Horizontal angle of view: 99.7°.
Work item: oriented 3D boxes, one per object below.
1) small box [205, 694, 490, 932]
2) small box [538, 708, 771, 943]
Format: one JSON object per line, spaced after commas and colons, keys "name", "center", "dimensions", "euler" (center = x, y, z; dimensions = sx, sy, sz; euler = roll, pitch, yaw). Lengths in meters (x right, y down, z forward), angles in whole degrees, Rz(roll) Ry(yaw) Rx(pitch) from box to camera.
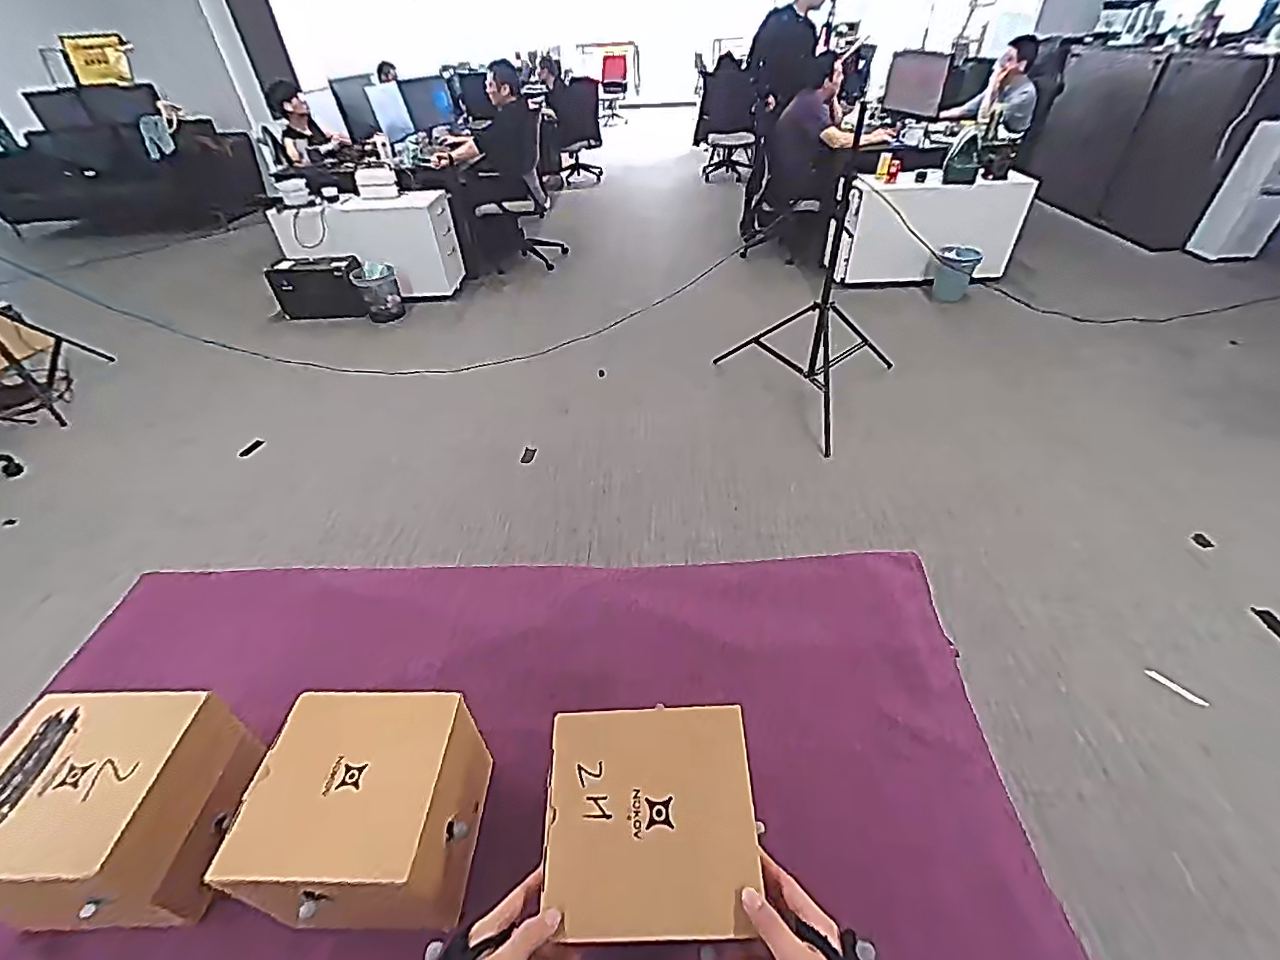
{"name": "small box", "center": [-0.268, 0.338, 0.553], "dimensions": [0.179, 0.176, 0.168], "euler": [-2, 40, 3]}
{"name": "small box", "center": [0.016, 0.325, 0.510], "dimensions": [0.179, 0.176, 0.168], "euler": [-4, 51, 4]}
